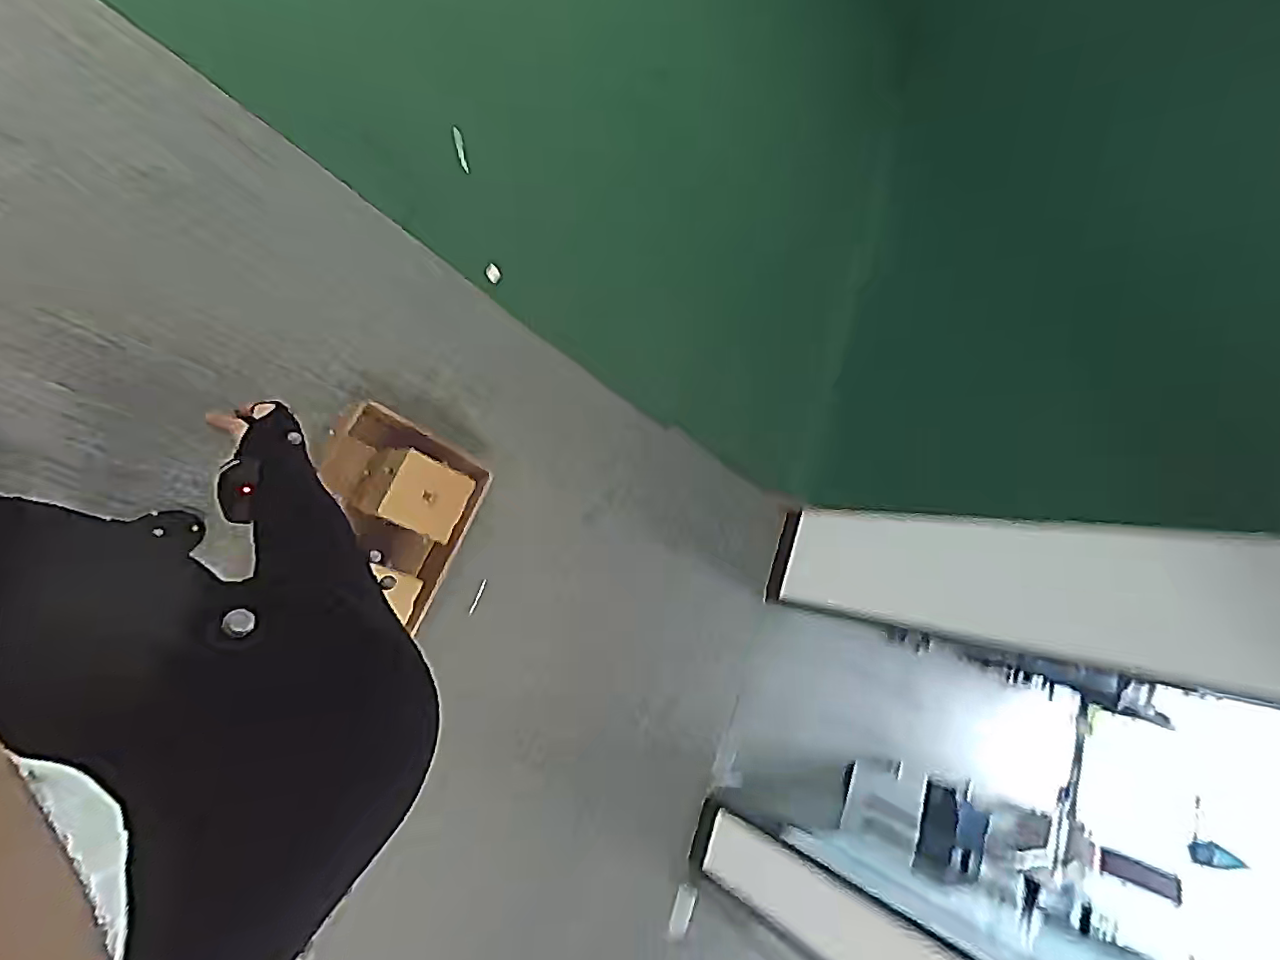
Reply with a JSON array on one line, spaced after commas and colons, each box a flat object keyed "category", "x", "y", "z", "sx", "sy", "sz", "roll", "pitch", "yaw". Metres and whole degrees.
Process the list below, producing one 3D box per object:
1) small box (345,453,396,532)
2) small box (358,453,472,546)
[{"category": "small box", "x": -0.650, "y": 0.042, "z": 1.436, "sx": 0.179, "sy": 0.176, "sz": 0.168, "roll": 34, "pitch": 70, "yaw": -35}, {"category": "small box", "x": -0.549, "y": 0.048, "z": 1.310, "sx": 0.179, "sy": 0.176, "sz": 0.168, "roll": 34, "pitch": 70, "yaw": -35}]
